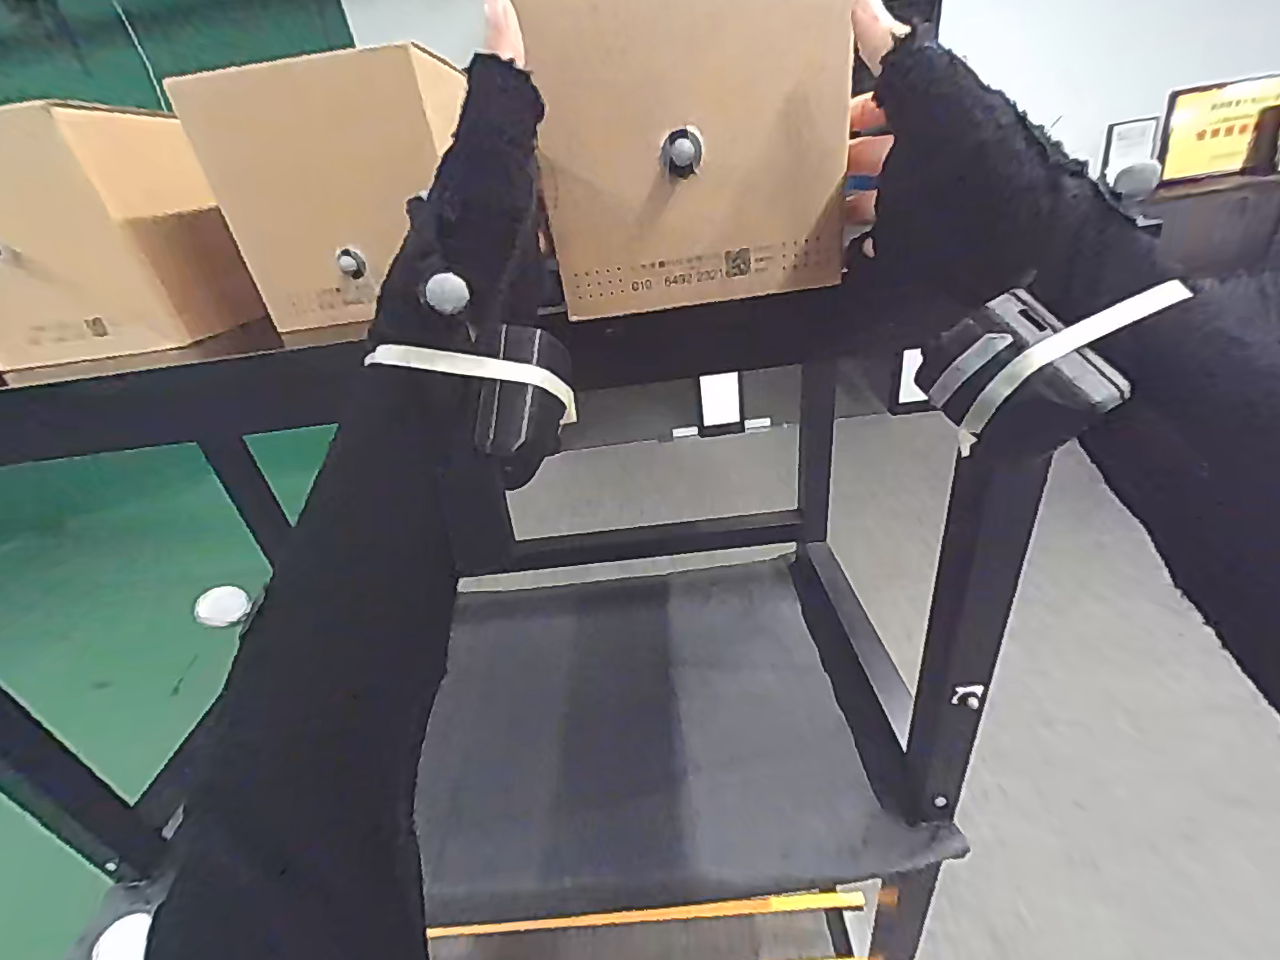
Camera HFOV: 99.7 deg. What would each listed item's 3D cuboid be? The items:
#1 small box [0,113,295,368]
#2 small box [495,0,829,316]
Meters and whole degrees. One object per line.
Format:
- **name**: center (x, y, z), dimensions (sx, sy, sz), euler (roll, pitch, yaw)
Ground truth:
- **small box**: center (-0.454, -0.204, 0.479), dimensions (0.168, 0.176, 0.179), euler (-6, 29, 5)
- **small box**: center (0.022, -0.214, 0.360), dimensions (0.168, 0.176, 0.179), euler (-6, 30, 4)
